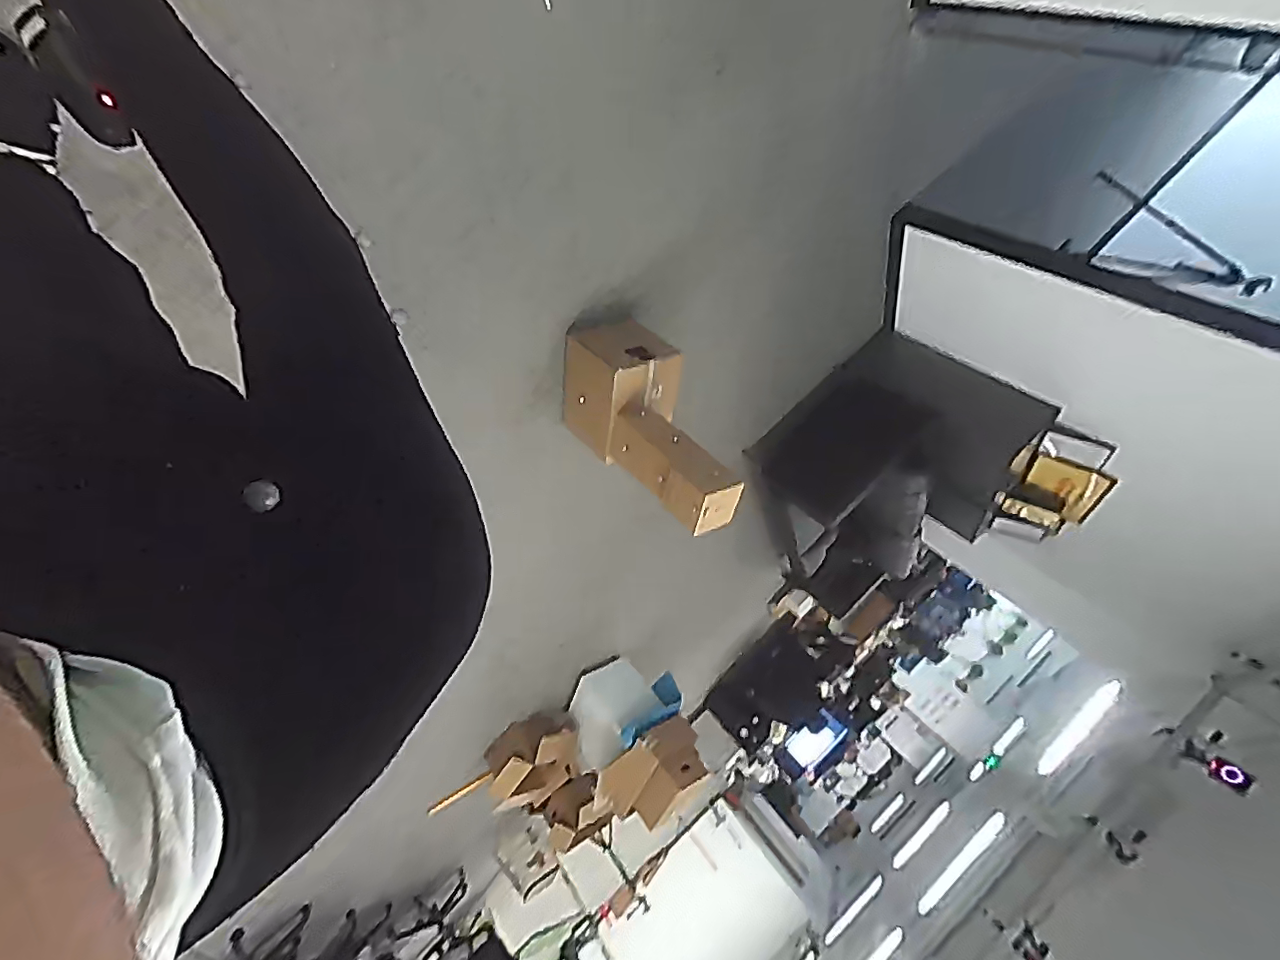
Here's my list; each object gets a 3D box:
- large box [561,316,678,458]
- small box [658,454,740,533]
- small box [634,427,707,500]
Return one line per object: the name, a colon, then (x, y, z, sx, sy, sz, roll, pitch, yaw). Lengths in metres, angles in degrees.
large box: (-0.094, -0.360, 2.065, 0.320, 0.320, 0.408, -24, 140, -33)
small box: (0.188, 0.037, 1.752, 0.179, 0.176, 0.168, -18, 136, -36)
small box: (0.100, -0.056, 1.856, 0.168, 0.176, 0.179, -19, 137, -34)
